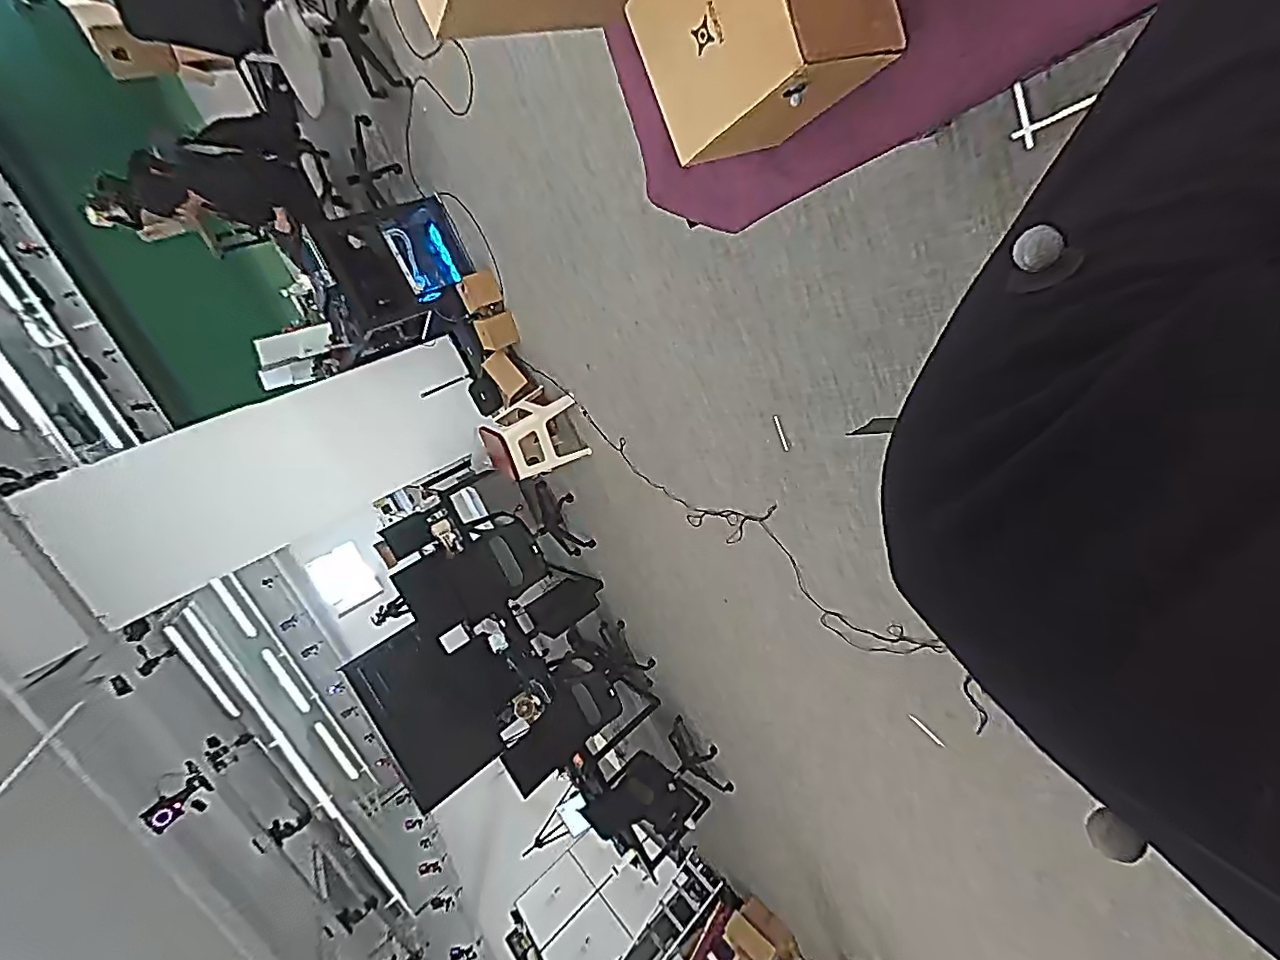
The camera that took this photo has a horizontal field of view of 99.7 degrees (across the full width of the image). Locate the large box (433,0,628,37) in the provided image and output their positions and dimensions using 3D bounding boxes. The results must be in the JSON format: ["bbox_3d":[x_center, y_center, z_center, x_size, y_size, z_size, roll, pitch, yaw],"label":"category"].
[{"bbox_3d":[-0.098,-0.722,0.478,0.320,0.320,0.408,-2,119,57],"label":"large box"}]

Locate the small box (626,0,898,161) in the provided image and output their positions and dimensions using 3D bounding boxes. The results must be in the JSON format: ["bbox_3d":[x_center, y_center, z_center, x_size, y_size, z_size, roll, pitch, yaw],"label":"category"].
[{"bbox_3d":[0.121,-0.460,0.548,0.179,0.176,0.168,-4,114,58],"label":"small box"}]
